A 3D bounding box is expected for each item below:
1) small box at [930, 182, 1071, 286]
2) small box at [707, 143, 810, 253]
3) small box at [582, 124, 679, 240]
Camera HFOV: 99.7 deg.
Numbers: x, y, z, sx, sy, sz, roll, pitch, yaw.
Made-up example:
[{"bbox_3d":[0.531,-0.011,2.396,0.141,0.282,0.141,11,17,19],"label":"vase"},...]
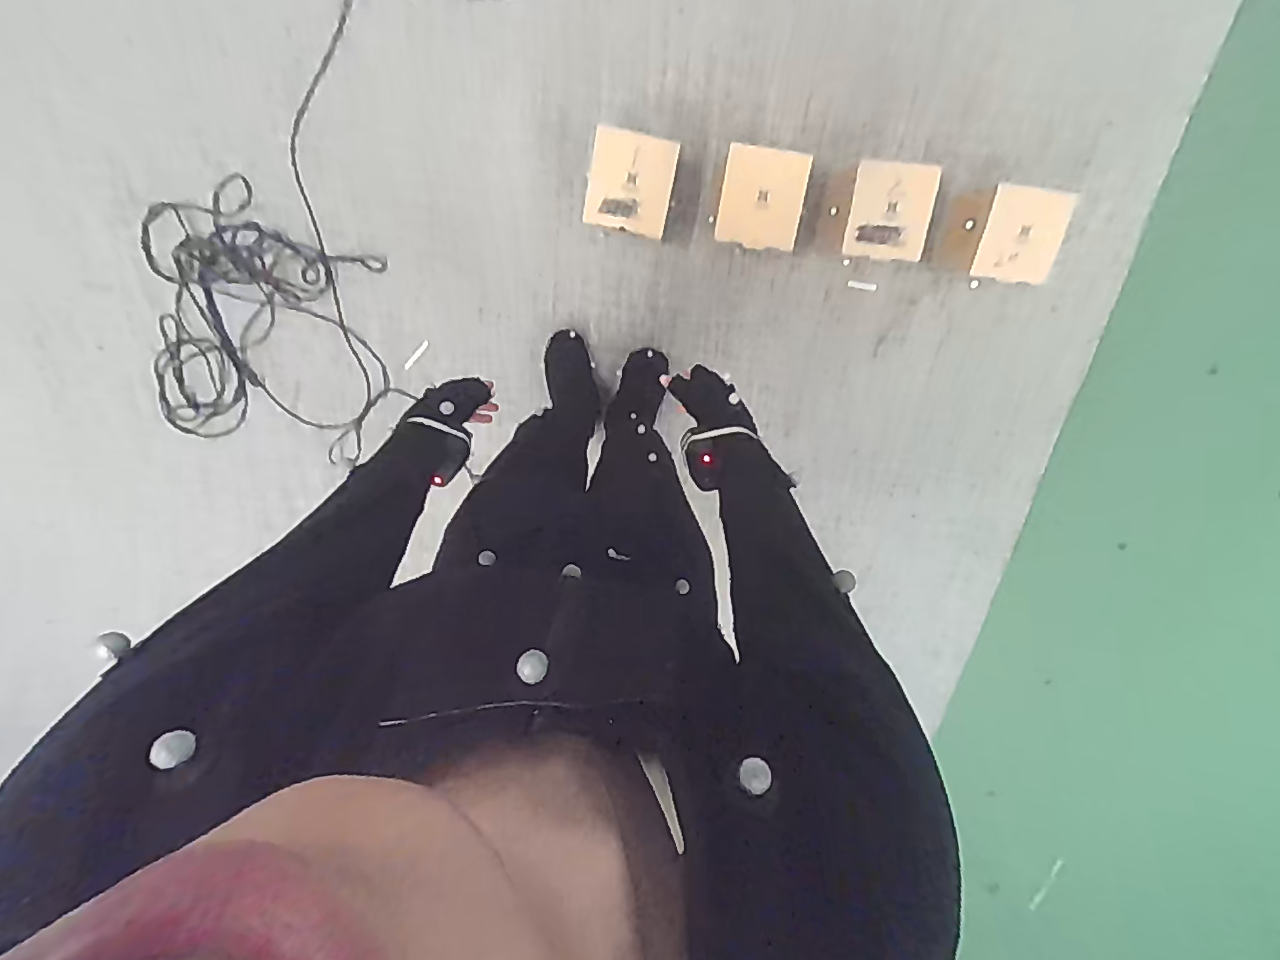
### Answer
[{"bbox_3d":[0.767,-0.527,1.175,0.168,0.176,0.179,8,112,-2],"label":"small box"},{"bbox_3d":[0.242,-0.591,1.153,0.168,0.176,0.179,8,111,-2],"label":"small box"},{"bbox_3d":[-0.019,-0.617,1.144,0.168,0.176,0.179,11,111,-4],"label":"small box"}]
